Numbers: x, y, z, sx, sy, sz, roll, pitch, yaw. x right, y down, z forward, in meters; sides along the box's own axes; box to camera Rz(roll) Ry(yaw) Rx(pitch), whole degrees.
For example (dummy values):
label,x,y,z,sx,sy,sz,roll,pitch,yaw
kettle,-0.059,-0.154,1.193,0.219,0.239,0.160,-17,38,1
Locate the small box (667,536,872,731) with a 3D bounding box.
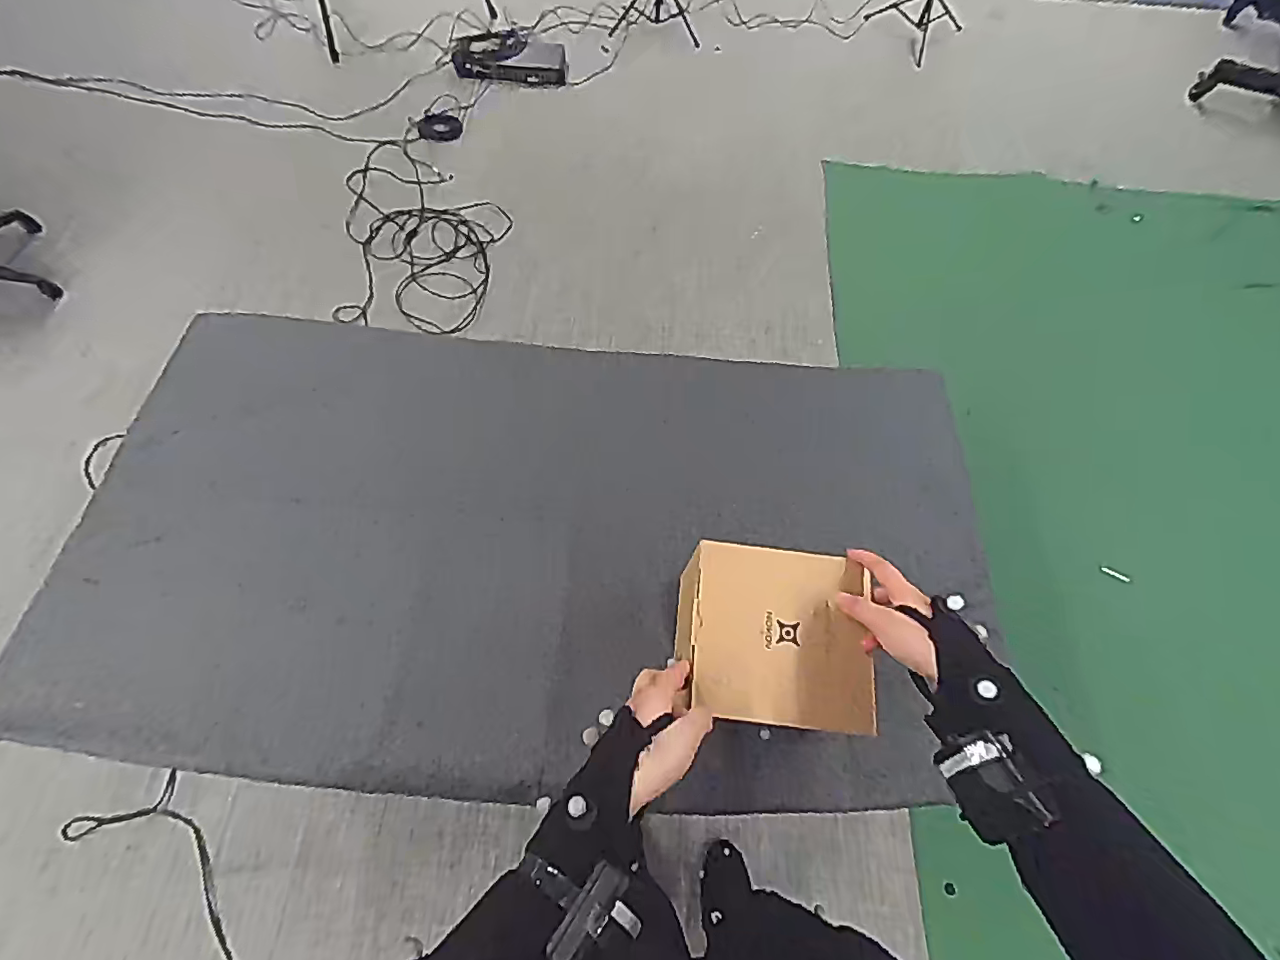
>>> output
label,x,y,z,sx,sy,sz,roll,pitch,yaw
small box,0.128,0.172,0.588,0.179,0.176,0.168,8,67,-1
